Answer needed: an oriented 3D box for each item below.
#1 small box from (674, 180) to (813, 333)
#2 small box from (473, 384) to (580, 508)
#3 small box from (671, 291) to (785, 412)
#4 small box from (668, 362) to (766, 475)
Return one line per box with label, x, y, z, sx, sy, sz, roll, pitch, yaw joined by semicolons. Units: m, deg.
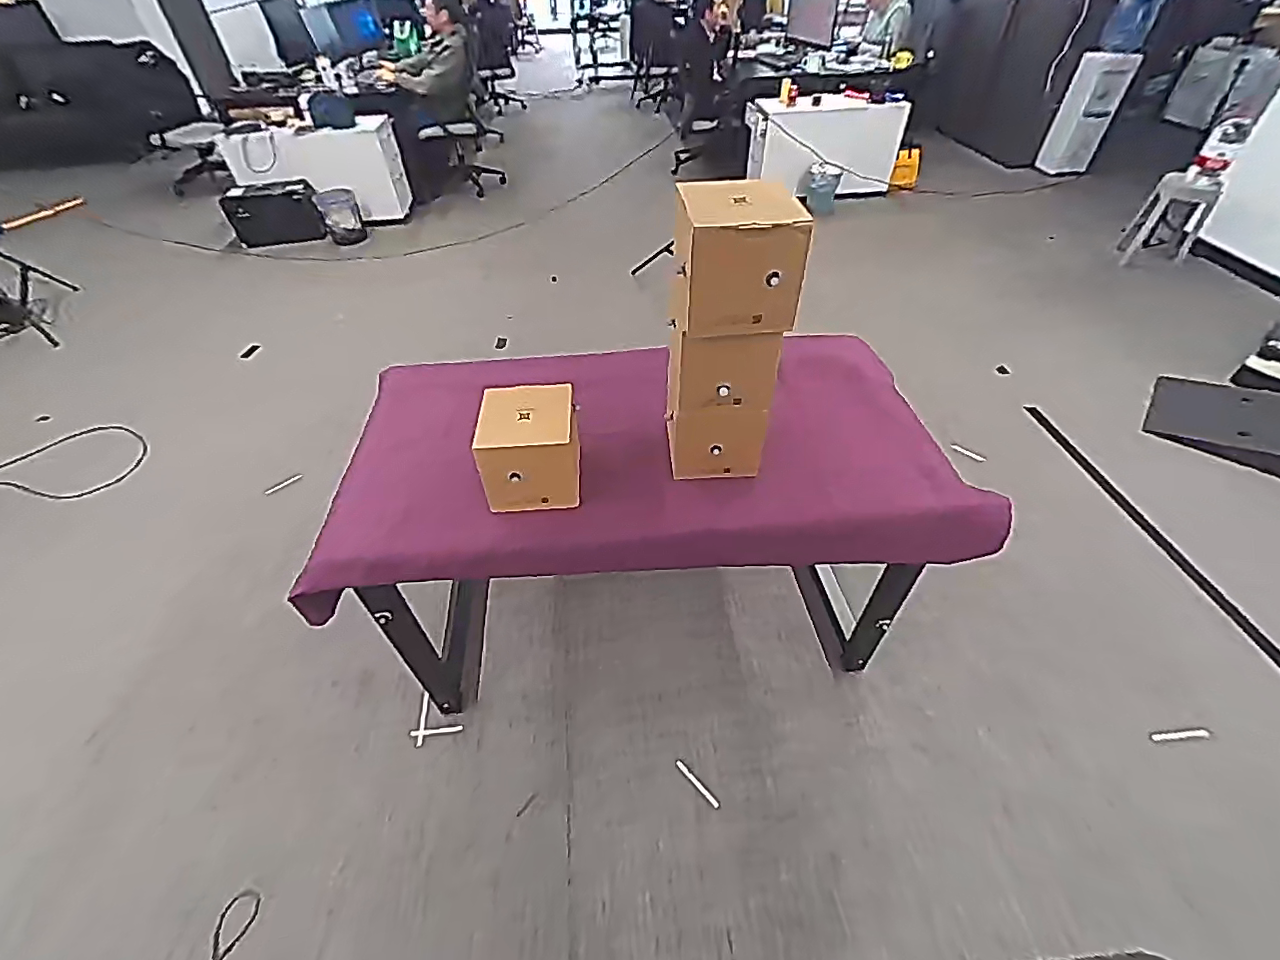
small box;0.145;-0.337;0.826;0.168;0.176;0.179;-4;45;-4
small box;-0.203;-0.059;1.020;0.168;0.176;0.179;-4;44;-3
small box;0.144;-0.239;0.957;0.168;0.176;0.179;-3;46;-1
small box;0.144;-0.121;1.072;0.168;0.176;0.179;-2;45;-1
